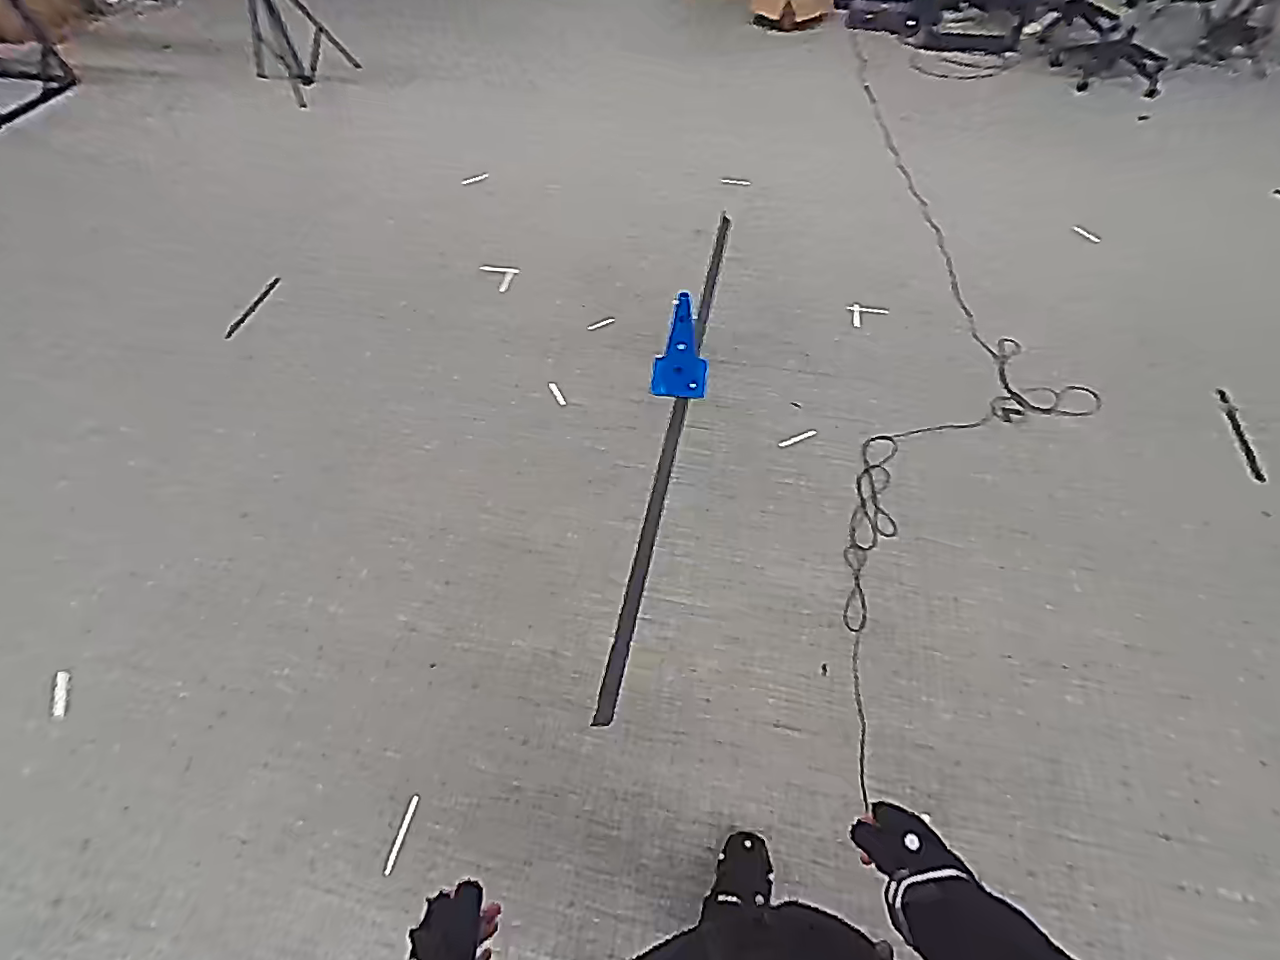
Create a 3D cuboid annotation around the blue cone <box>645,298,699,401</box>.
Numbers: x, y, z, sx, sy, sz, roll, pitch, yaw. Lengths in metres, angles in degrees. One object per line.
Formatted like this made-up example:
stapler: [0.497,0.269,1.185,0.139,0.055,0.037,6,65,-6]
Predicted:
blue cone: [0.116,-0.458,1.861,0.192,0.380,0.193,6,56,6]
